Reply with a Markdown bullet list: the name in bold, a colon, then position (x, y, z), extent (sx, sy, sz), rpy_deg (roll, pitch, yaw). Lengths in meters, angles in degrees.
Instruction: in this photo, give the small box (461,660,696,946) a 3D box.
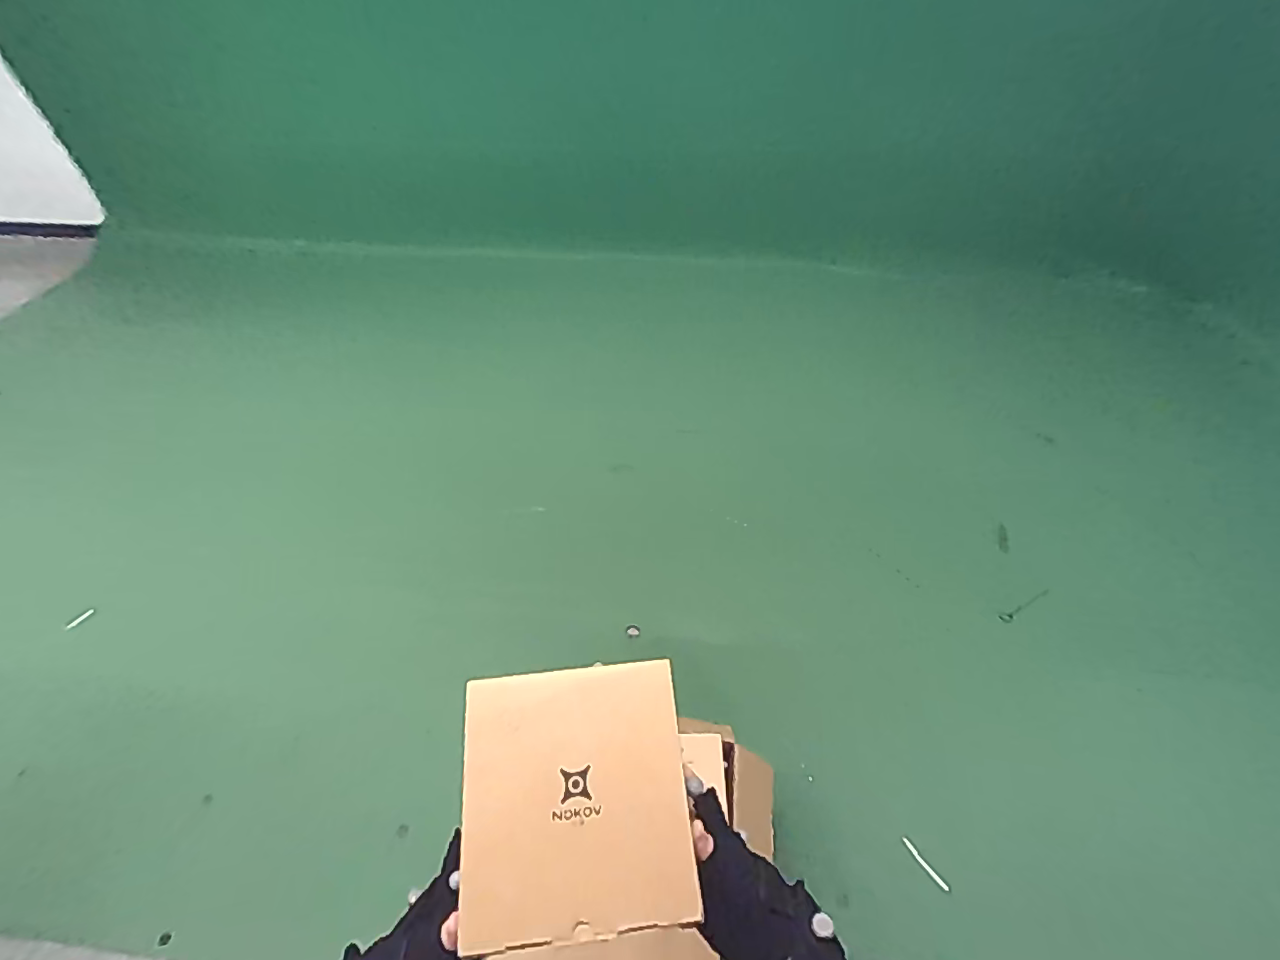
- **small box**: position (-0.054, 0.271, 0.482), extent (0.168, 0.176, 0.179), rpy_deg (-4, 63, -6)
